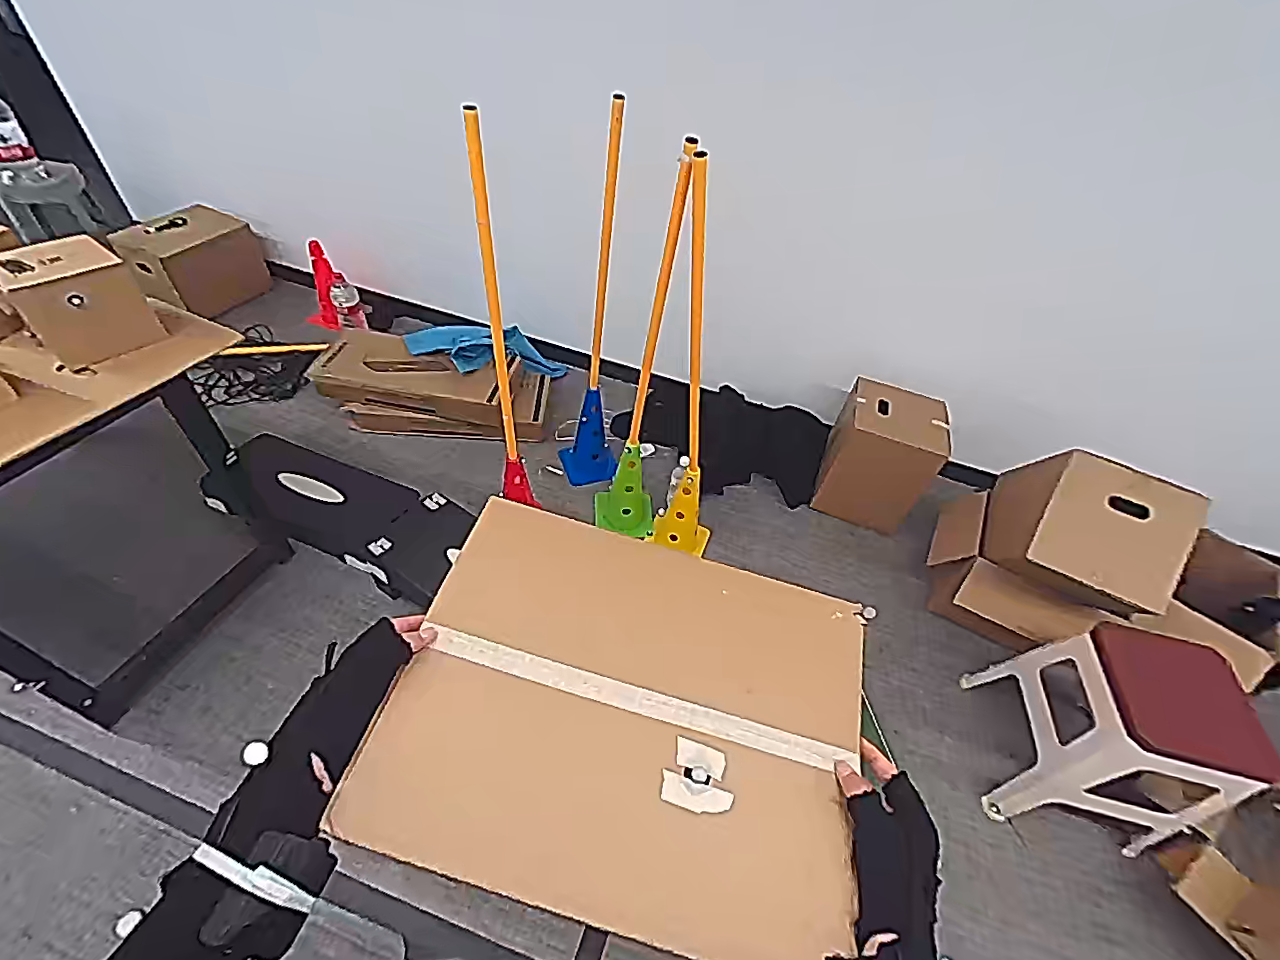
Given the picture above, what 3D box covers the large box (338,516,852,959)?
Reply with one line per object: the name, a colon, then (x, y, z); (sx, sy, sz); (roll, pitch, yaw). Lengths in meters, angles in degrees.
large box: (-0.026, 0.293, 0.606); (0.408, 0.320, 0.320); (17, 54, 2)
